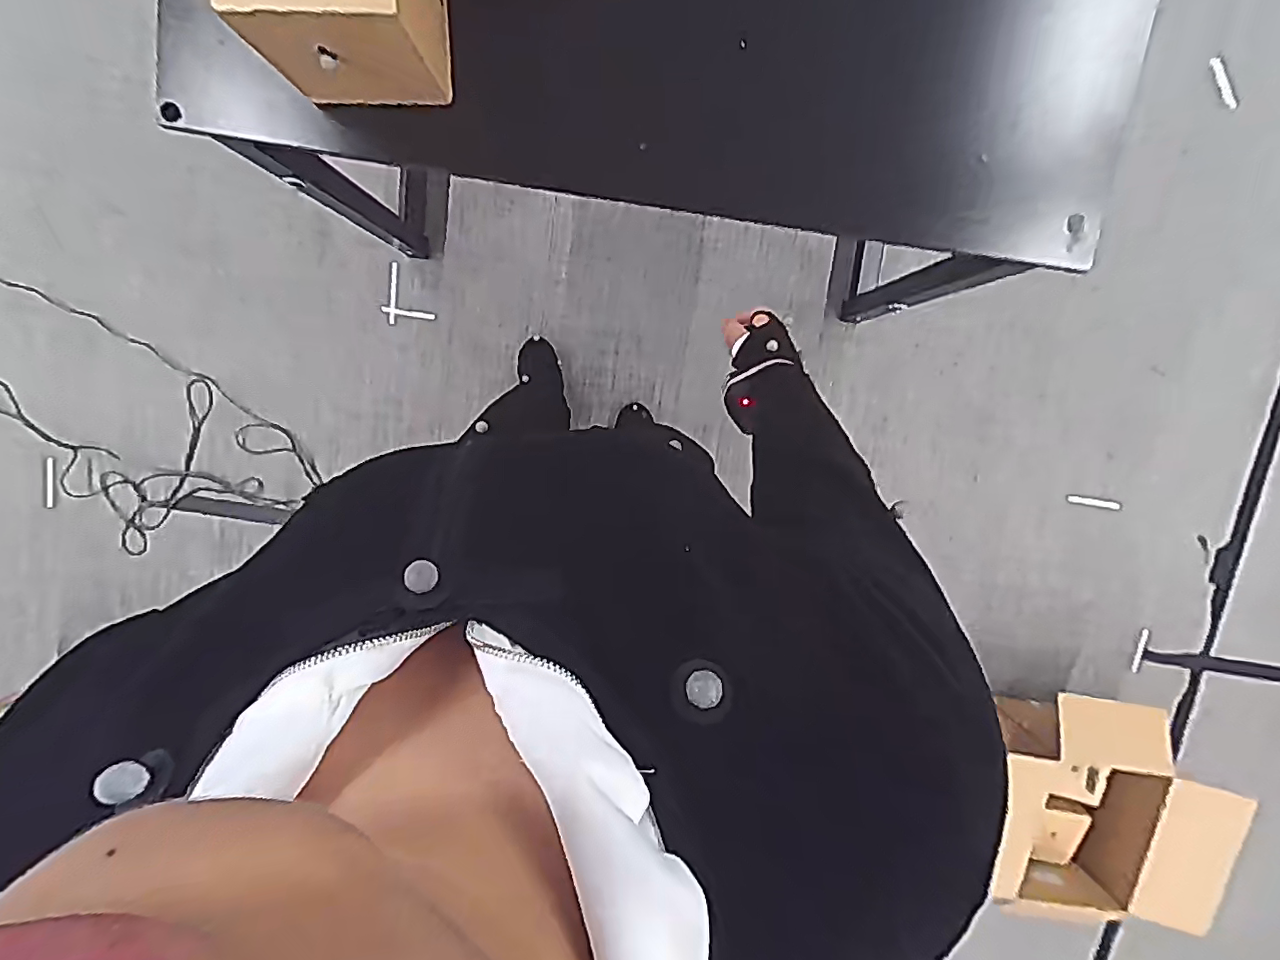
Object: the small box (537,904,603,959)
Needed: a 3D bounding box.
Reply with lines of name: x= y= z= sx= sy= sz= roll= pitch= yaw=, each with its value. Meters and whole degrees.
small box: x=-0.209 y=1.404 z=1.597 sx=0.179 sy=0.176 sz=0.168 roll=12 pitch=96 yaw=-2
